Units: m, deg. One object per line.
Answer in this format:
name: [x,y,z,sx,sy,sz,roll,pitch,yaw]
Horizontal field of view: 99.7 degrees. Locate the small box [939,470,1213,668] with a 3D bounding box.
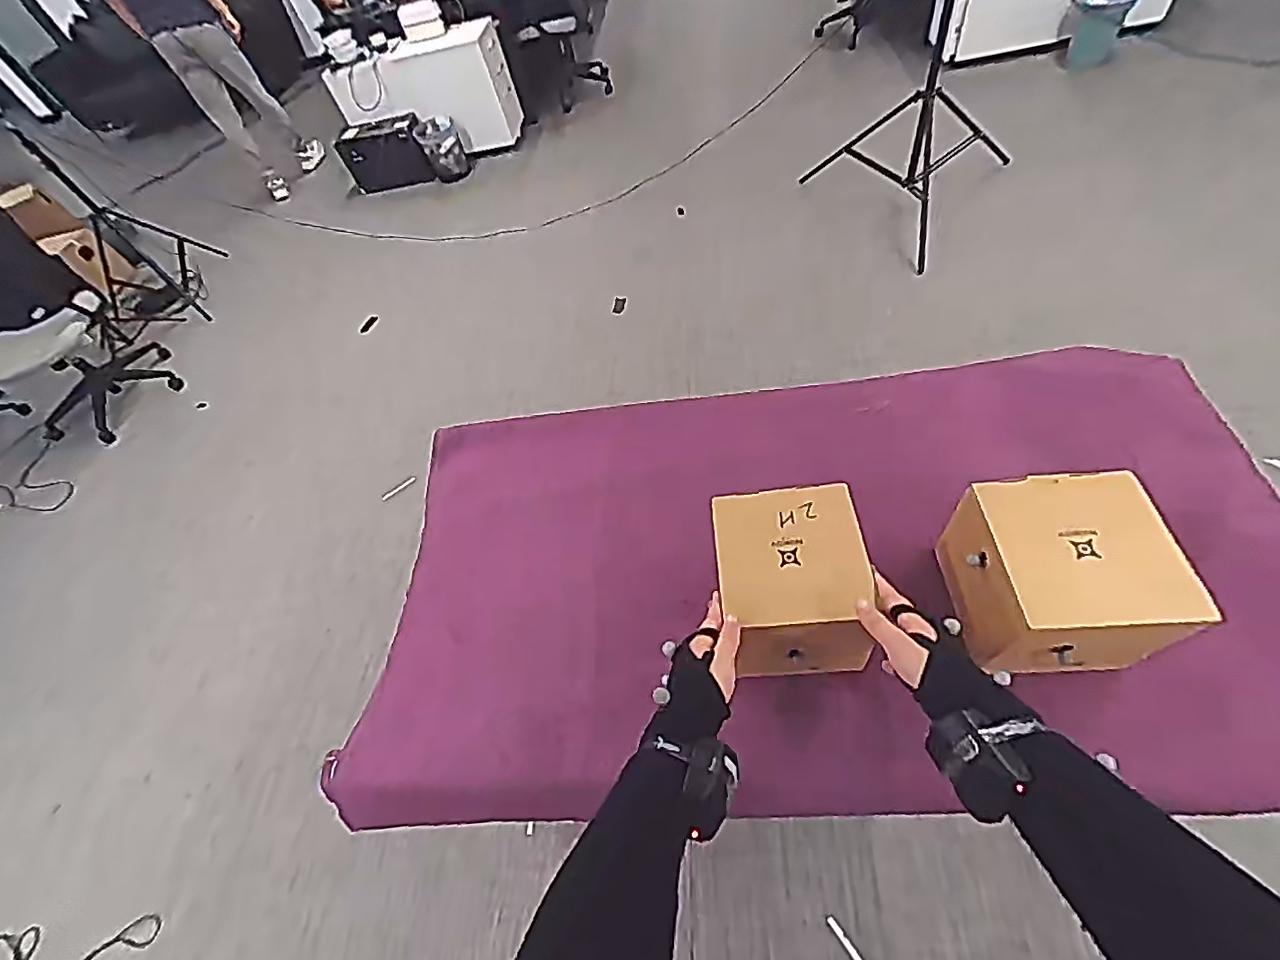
small box: [0.475,0.113,0.629,0.168,0.176,0.179,-5,54,9]

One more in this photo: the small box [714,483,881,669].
small box: [0.187,0.129,0.679,0.168,0.176,0.179,-6,52,9]
